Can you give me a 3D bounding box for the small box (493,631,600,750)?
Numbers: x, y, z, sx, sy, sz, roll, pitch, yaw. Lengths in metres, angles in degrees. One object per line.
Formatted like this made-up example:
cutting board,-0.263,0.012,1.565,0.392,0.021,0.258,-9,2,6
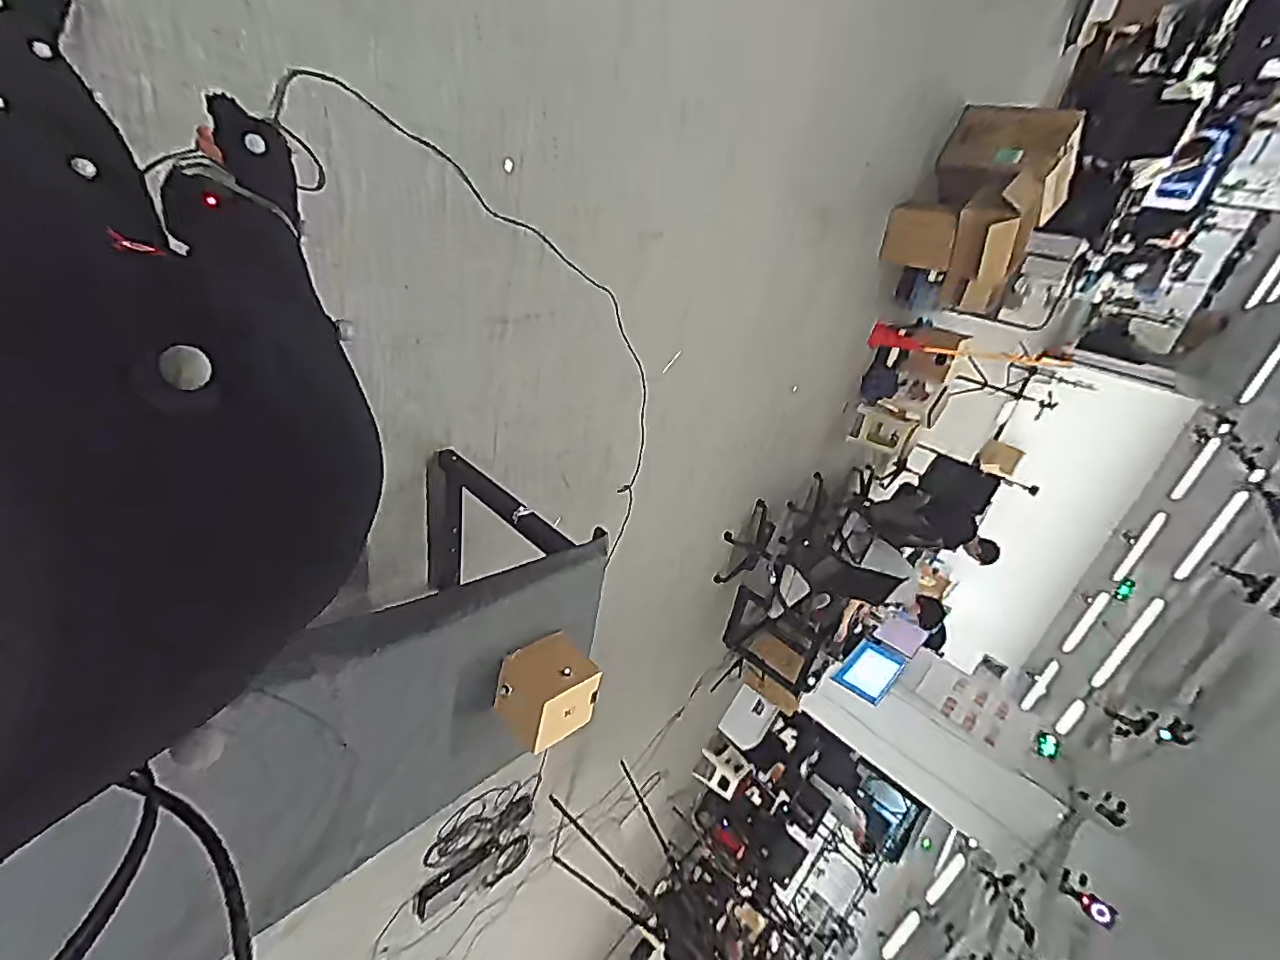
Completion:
small box,-0.226,0.494,1.296,0.179,0.176,0.168,-12,124,-46
